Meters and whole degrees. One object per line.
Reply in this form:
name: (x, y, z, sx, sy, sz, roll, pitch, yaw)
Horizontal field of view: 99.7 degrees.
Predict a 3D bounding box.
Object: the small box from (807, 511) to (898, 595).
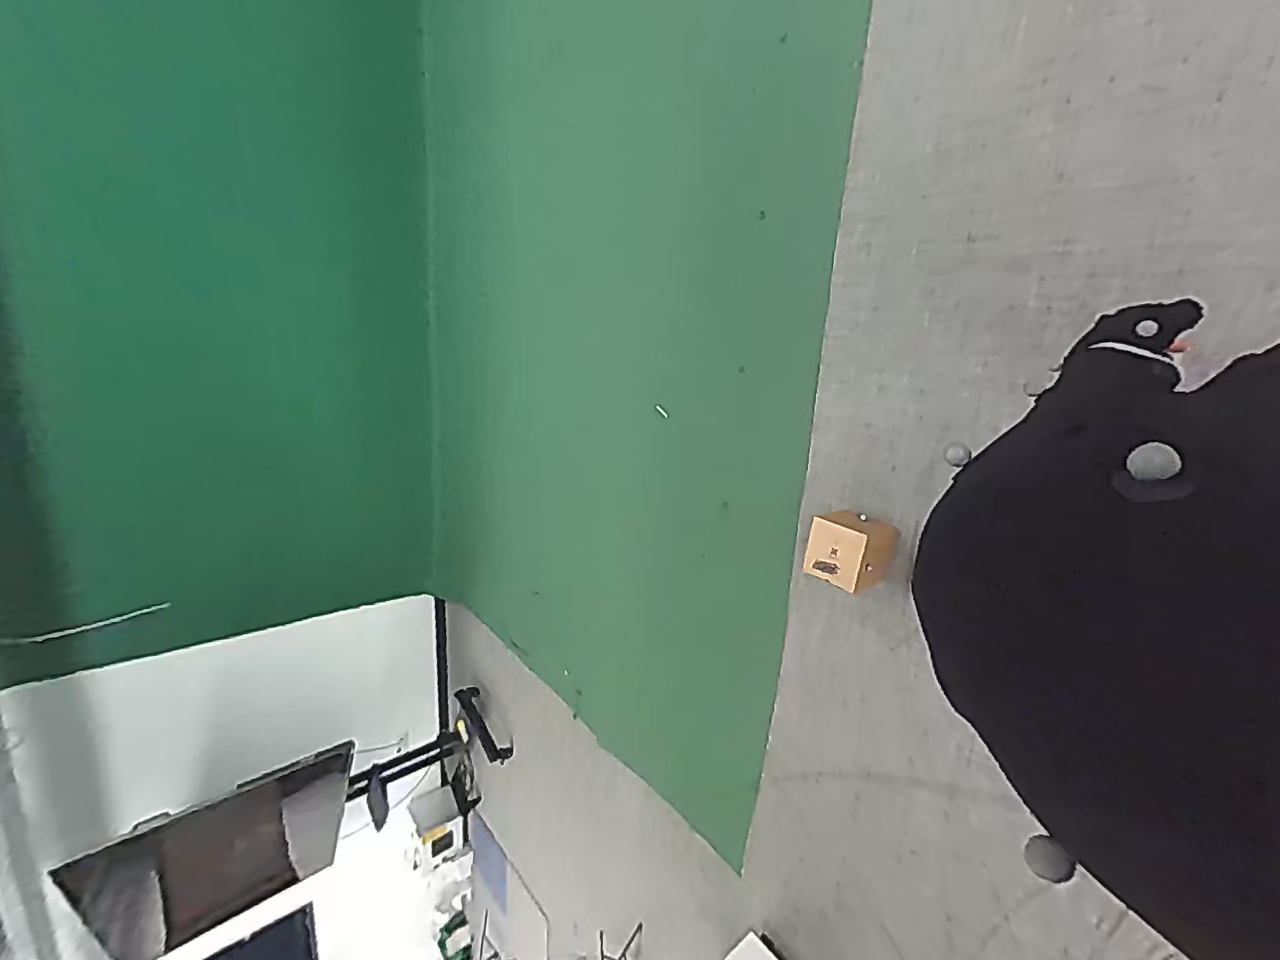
small box: (0.610, 0.202, 1.547, 0.168, 0.176, 0.179, 23, 111, 46)
